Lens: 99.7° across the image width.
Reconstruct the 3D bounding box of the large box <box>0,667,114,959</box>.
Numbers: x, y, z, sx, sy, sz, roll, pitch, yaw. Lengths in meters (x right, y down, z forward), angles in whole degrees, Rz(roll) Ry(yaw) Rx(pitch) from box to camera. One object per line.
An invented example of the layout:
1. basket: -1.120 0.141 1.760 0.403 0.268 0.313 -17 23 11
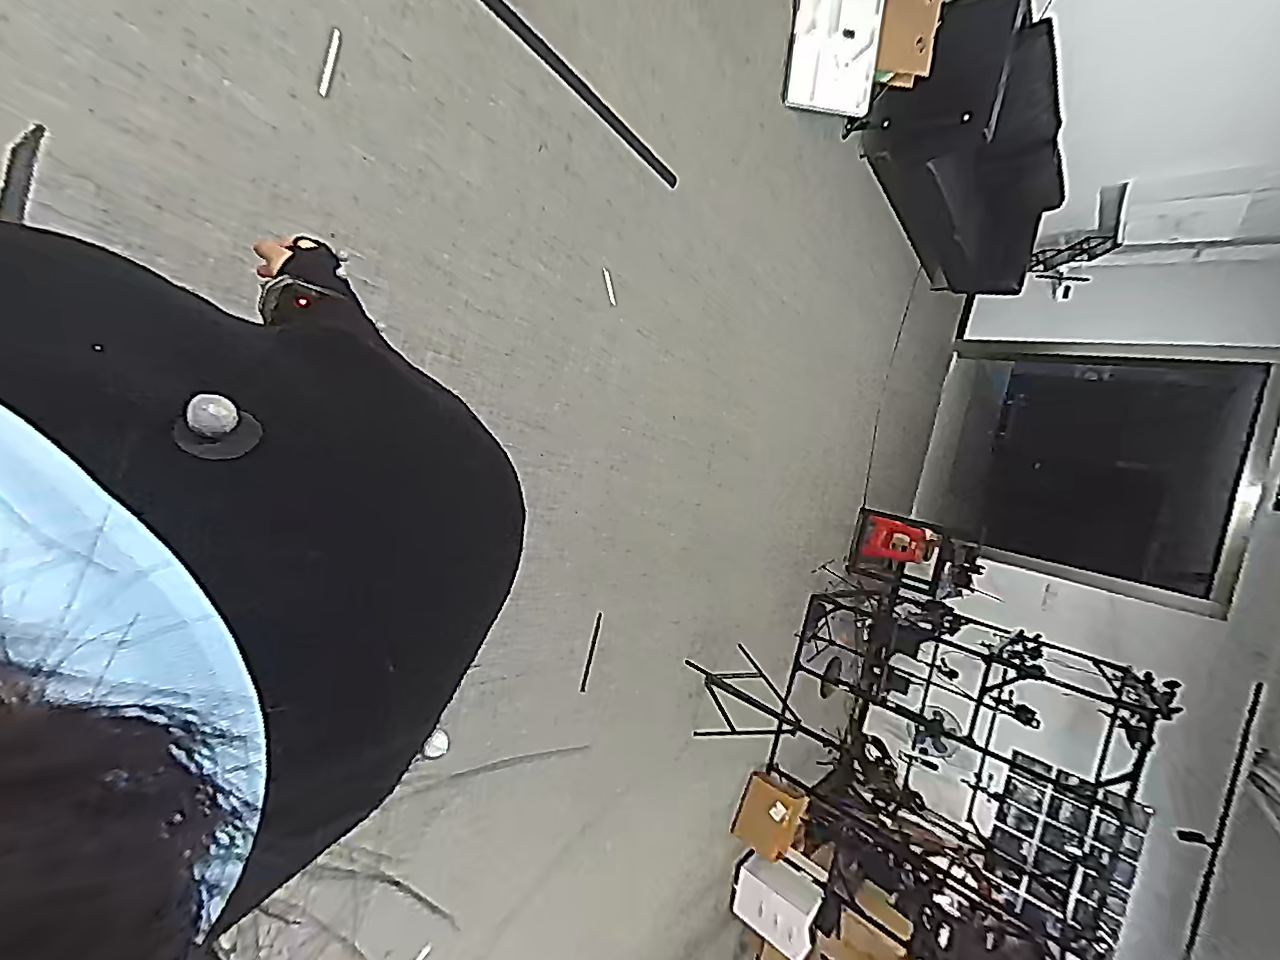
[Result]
1. large box: -1.075 0.511 0.788 0.408 0.320 0.320 8 94 -50
